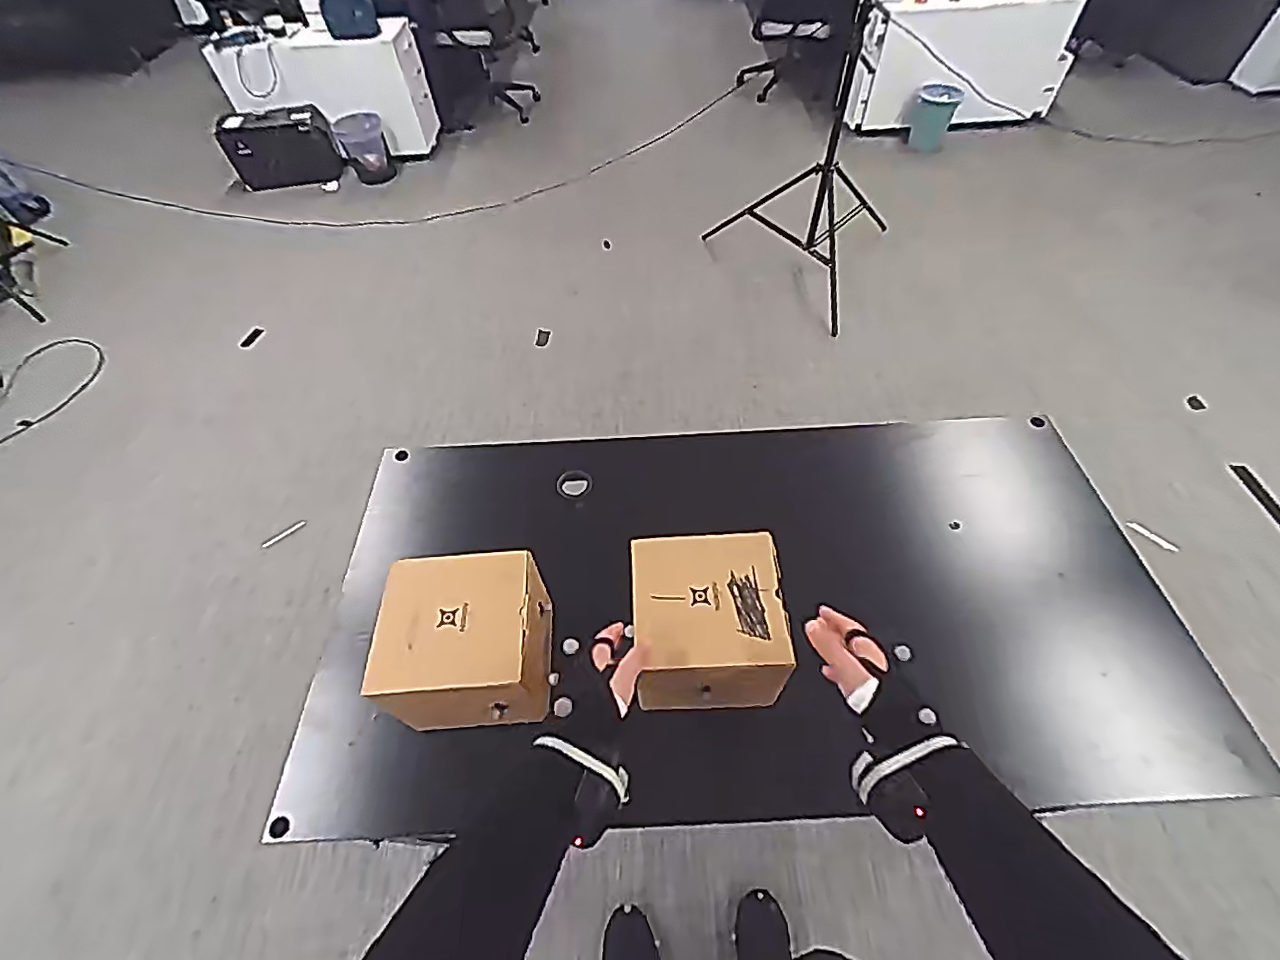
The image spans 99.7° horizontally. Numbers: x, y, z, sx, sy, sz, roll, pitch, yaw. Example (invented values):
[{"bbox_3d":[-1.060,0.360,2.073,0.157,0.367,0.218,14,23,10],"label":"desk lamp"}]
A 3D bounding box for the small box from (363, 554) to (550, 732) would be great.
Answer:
[{"bbox_3d":[-0.214,0.212,0.693,0.179,0.176,0.168,-6,53,0],"label":"small box"}]

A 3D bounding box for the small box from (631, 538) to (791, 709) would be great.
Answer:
[{"bbox_3d":[0.080,0.188,0.693,0.179,0.176,0.168,-3,53,2],"label":"small box"}]
